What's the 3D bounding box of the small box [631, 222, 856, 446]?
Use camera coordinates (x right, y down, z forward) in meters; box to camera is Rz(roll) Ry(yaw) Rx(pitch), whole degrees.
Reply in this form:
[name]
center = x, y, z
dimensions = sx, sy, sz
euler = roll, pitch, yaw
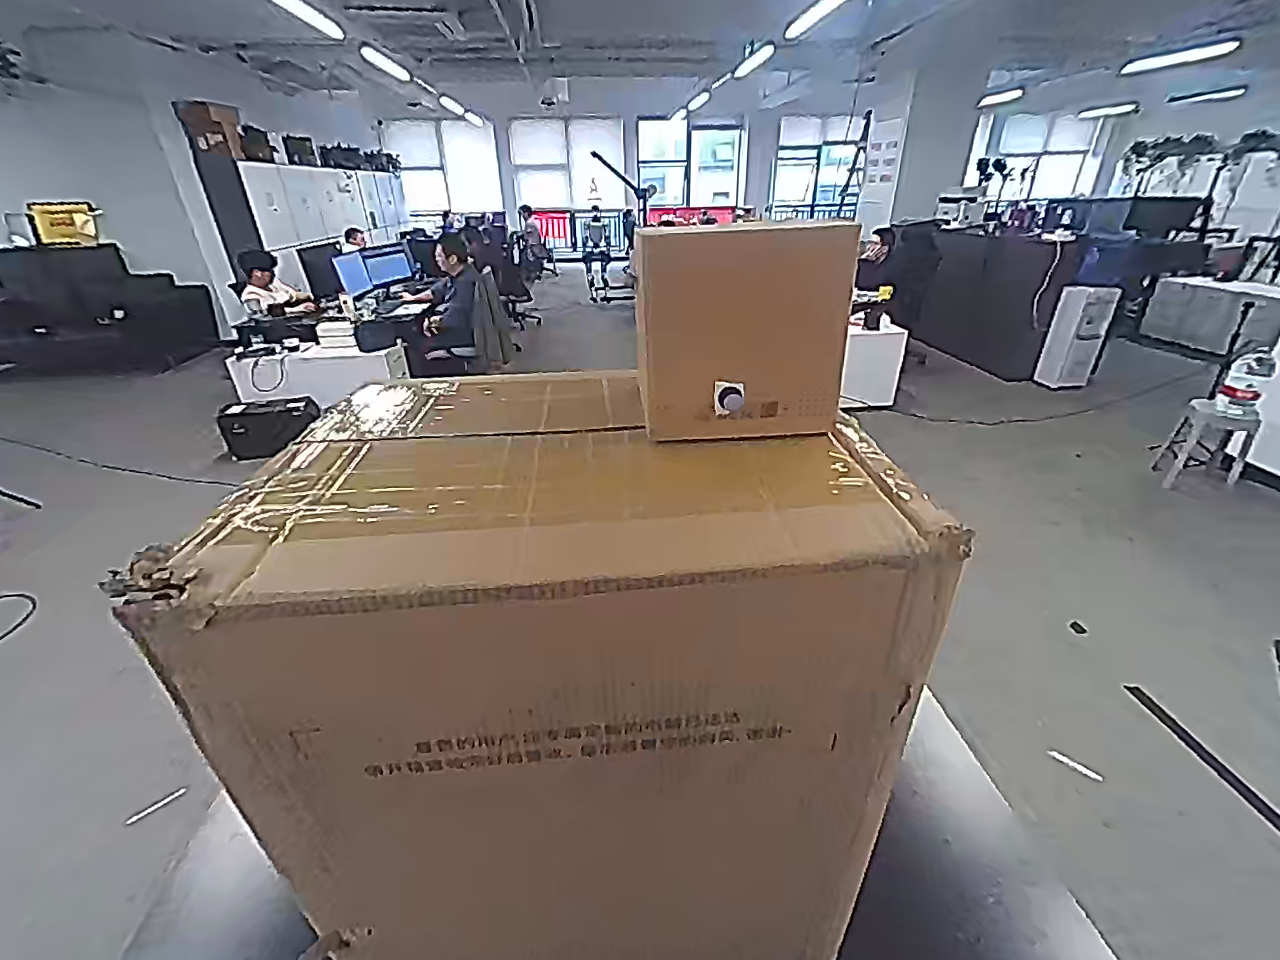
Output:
[small box]
center = 0.079, -0.142, 0.506
dimensions = 0.168, 0.176, 0.179
euler = -5, 27, -1
